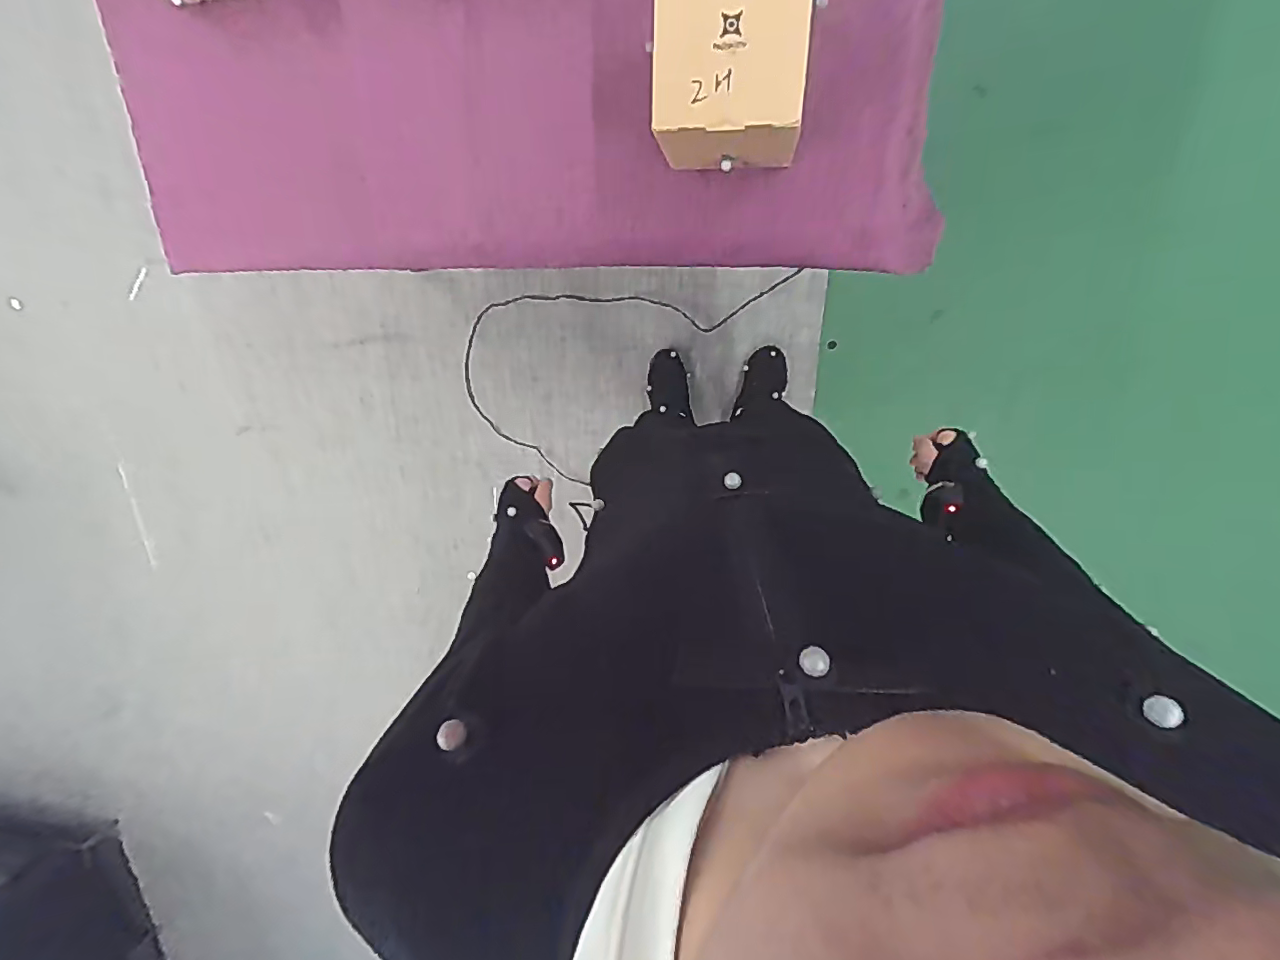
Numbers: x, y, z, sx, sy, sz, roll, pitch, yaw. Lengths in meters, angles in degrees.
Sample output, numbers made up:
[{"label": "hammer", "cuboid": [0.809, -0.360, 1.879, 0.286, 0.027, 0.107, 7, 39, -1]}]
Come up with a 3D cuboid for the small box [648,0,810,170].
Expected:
[{"label": "small box", "cuboid": [0.107, -0.493, 0.647, 0.168, 0.176, 0.179, 5, 107, 10]}]
